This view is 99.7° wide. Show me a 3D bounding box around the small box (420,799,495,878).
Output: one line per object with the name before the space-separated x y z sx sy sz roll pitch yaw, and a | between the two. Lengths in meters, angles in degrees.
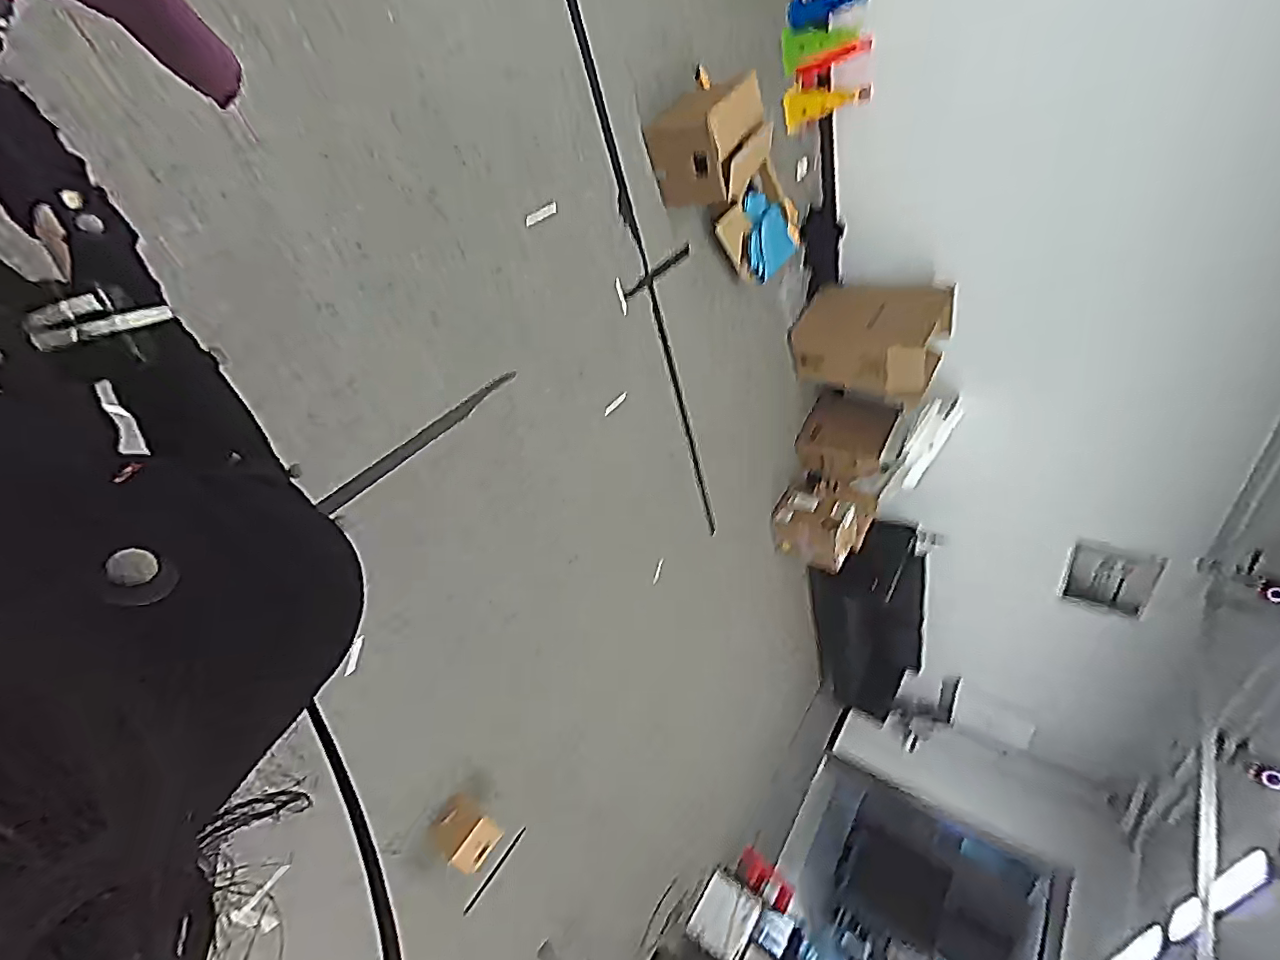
small box | -0.690 1.350 2.045 0.168 0.176 0.179 -49 136 -32
